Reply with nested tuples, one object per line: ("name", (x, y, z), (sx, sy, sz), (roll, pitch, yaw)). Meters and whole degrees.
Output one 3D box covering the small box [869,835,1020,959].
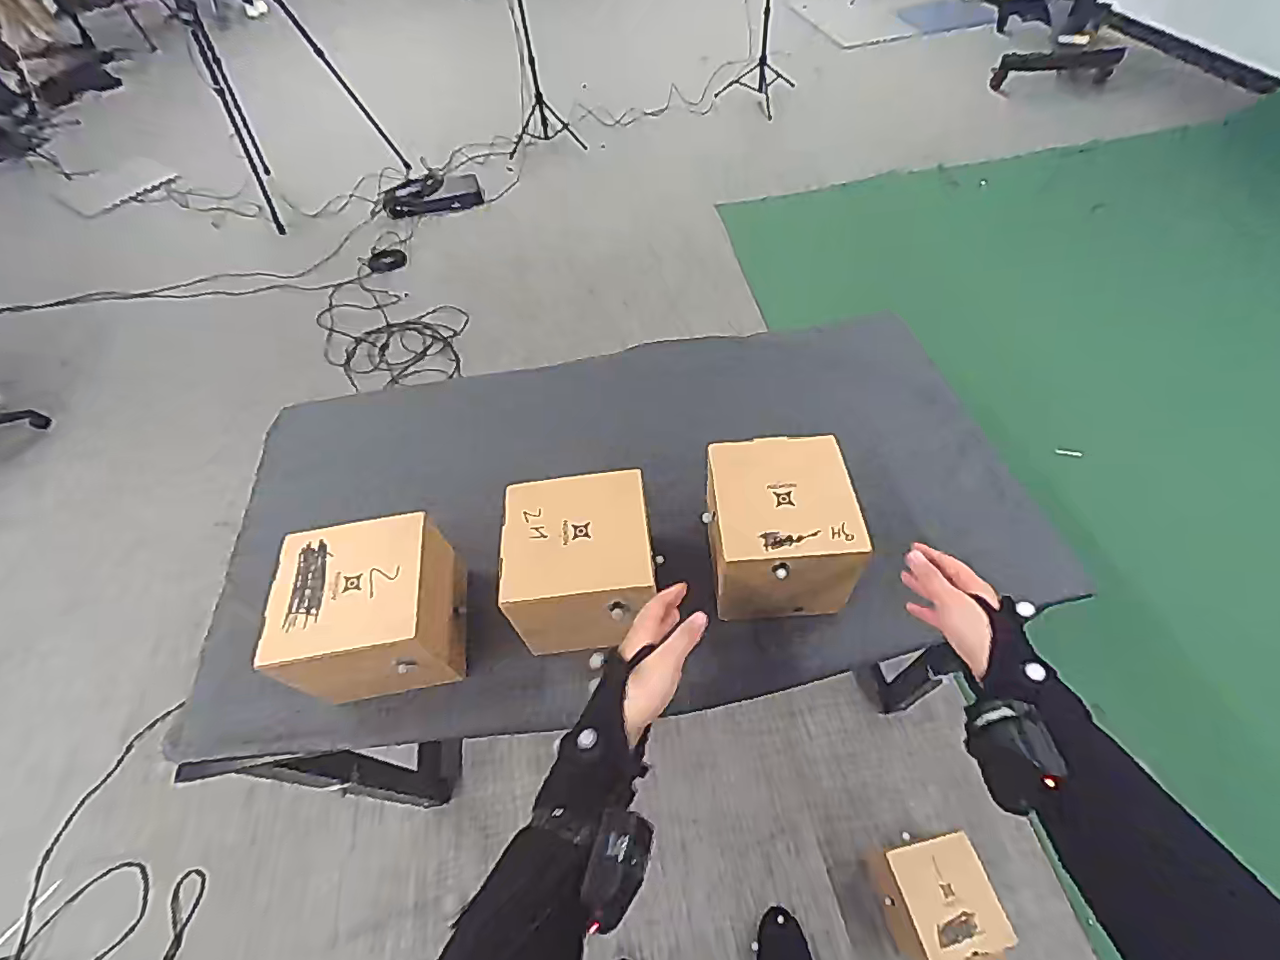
("small box", (0.572, 0.806, 1.043), (0.168, 0.176, 0.179), (-12, 54, -3))
